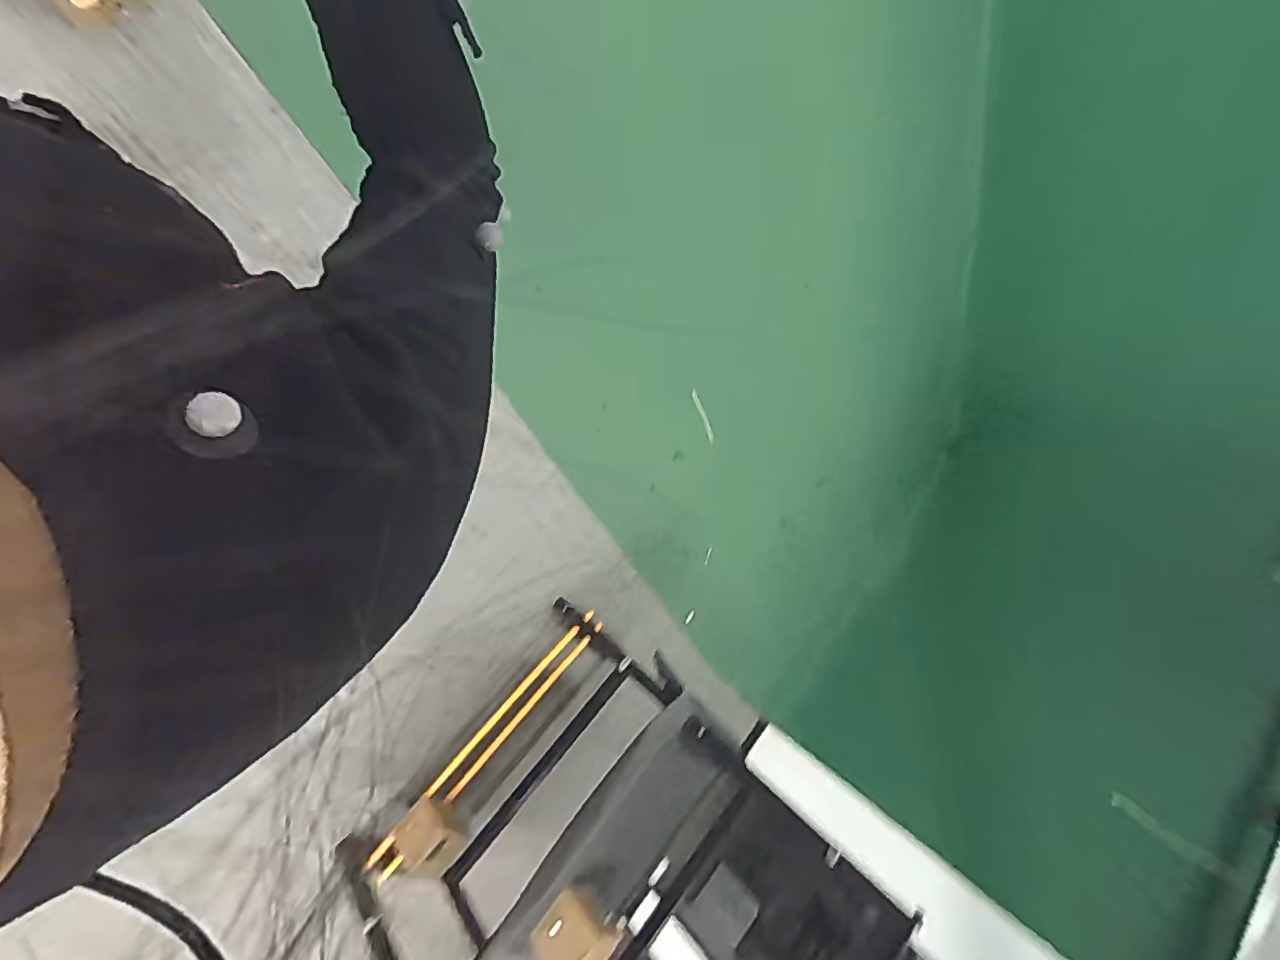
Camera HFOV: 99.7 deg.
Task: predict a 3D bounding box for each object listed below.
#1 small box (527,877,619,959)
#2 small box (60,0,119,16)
[{"bbox_3d":[-0.198,1.317,1.602,0.168,0.176,0.179,-50,139,-13],"label":"small box"},{"bbox_3d":[-0.863,-0.847,0.811,0.168,0.176,0.179,-46,138,-16],"label":"small box"}]
